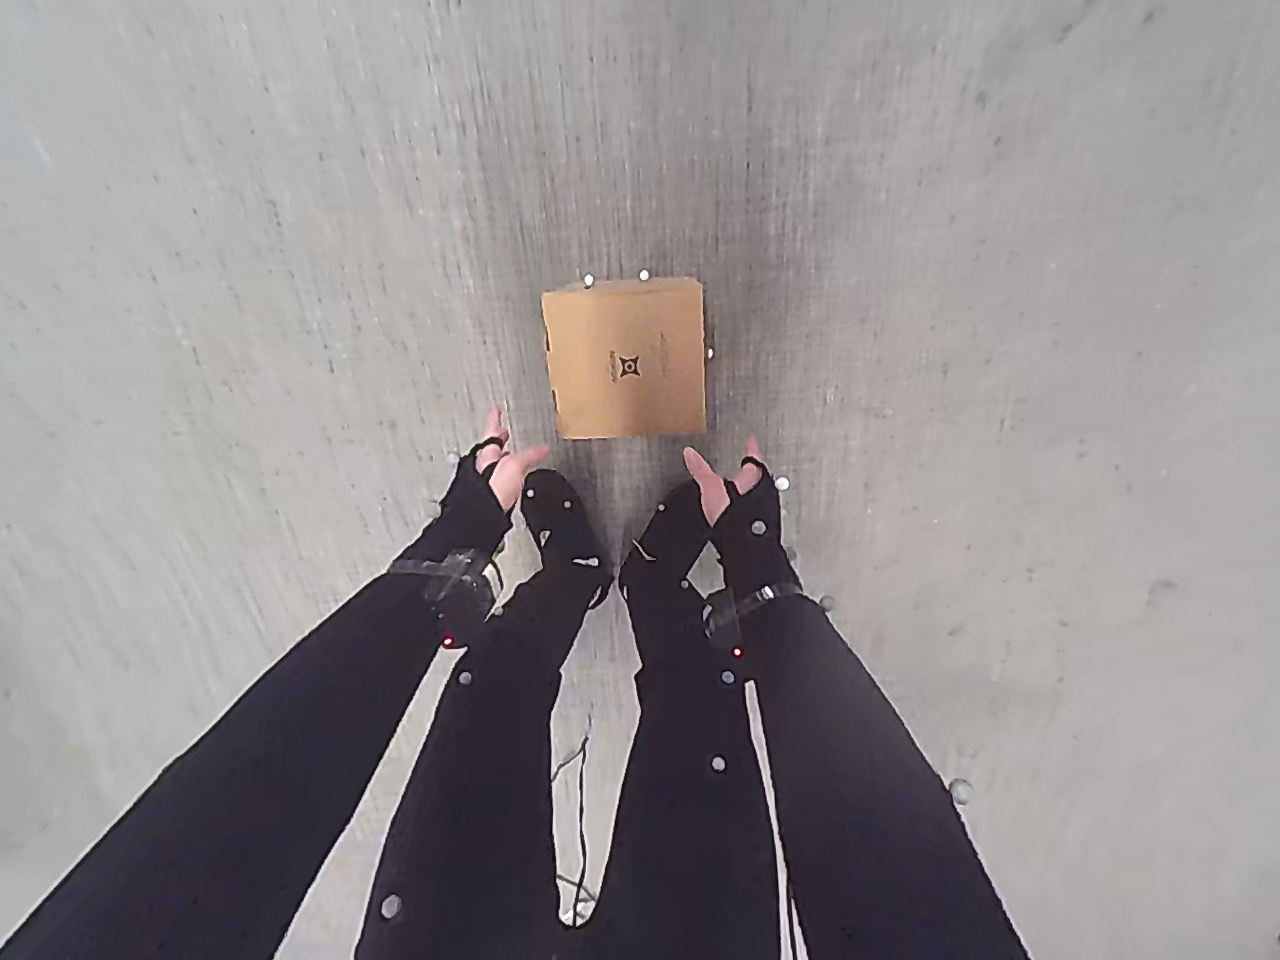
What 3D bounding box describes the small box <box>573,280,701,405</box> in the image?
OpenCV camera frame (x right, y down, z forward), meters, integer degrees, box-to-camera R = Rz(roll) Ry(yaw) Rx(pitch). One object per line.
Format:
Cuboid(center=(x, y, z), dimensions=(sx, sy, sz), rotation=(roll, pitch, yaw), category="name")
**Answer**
Cuboid(center=(0.000, -0.217, 0.835), dimensions=(0.179, 0.176, 0.168), rotation=(-1, 111, 3), category="small box")
